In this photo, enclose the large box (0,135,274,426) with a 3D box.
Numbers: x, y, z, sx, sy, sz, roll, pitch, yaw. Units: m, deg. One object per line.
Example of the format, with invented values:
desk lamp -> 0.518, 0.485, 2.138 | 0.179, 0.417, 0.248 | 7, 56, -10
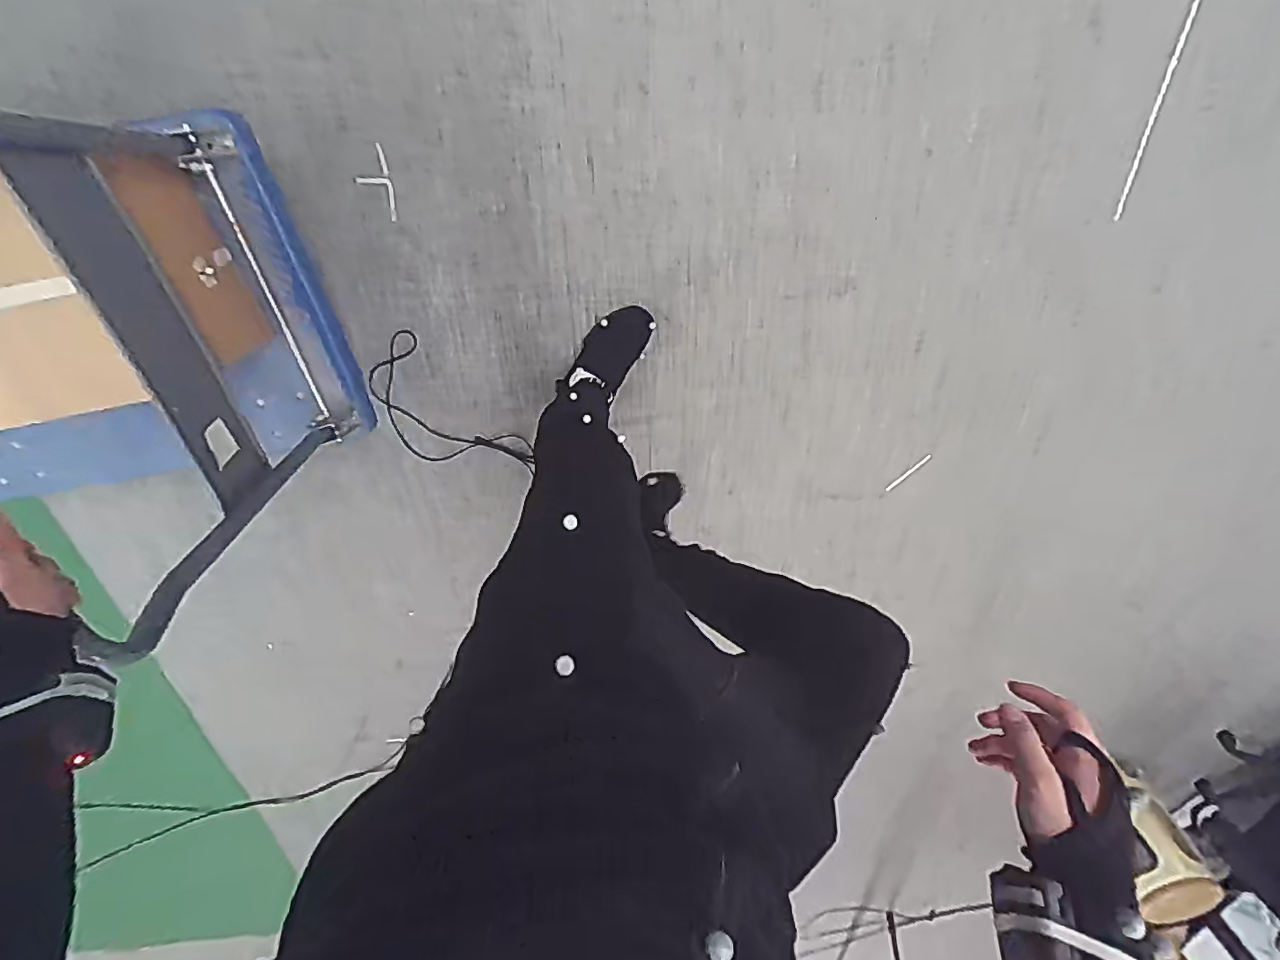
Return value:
large box -> -0.884, -0.293, 0.808 | 0.408, 0.320, 0.320 | -10, 120, 2
